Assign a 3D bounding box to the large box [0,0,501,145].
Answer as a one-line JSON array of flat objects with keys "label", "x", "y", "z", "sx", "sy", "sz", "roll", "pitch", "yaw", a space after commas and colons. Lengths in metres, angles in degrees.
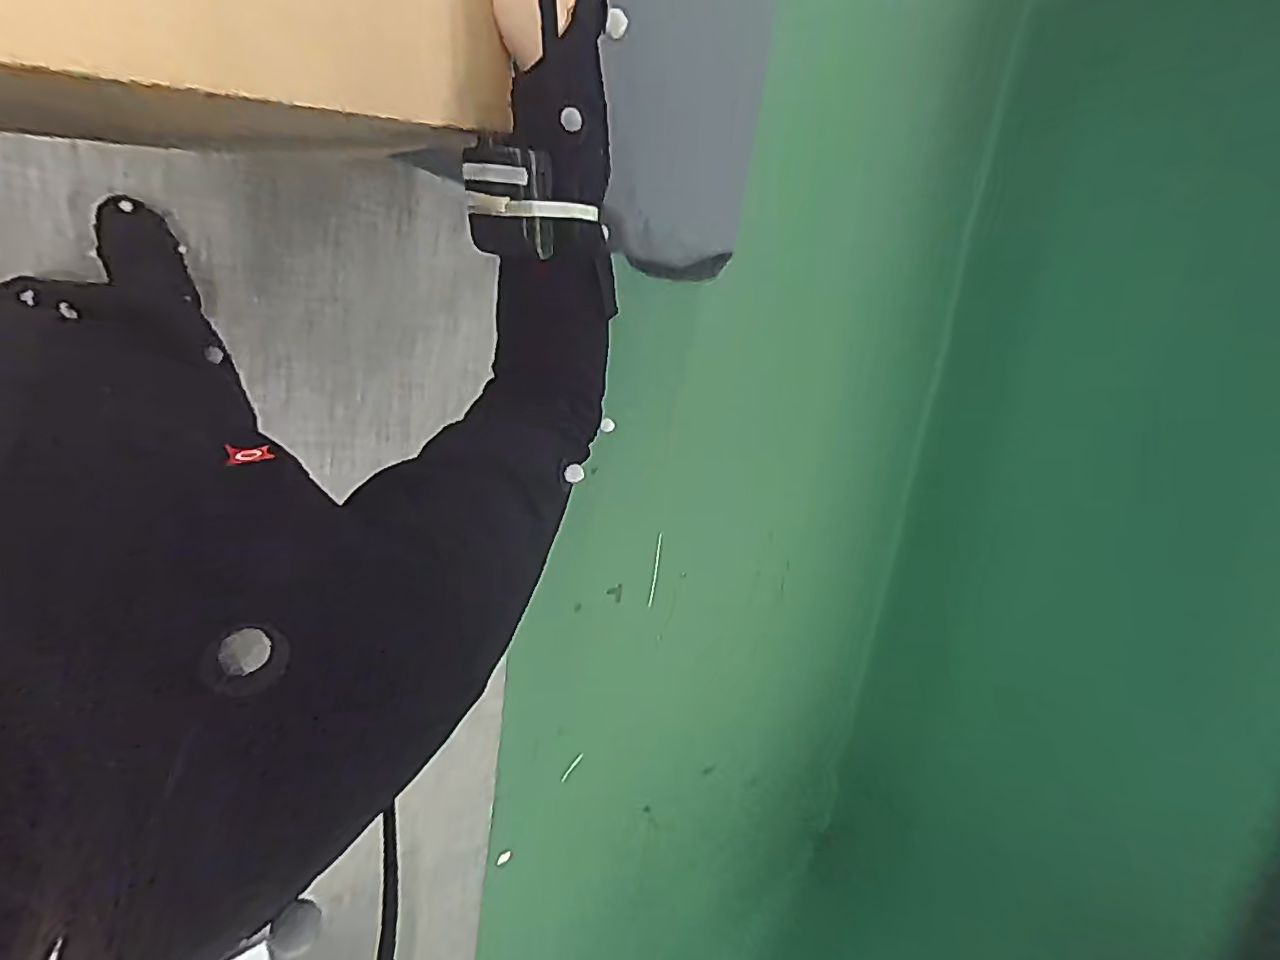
[{"label": "large box", "x": -0.329, "y": -0.353, "z": 0.238, "sx": 0.408, "sy": 0.320, "sz": 0.320, "roll": -23, "pitch": 126, "yaw": -41}]
